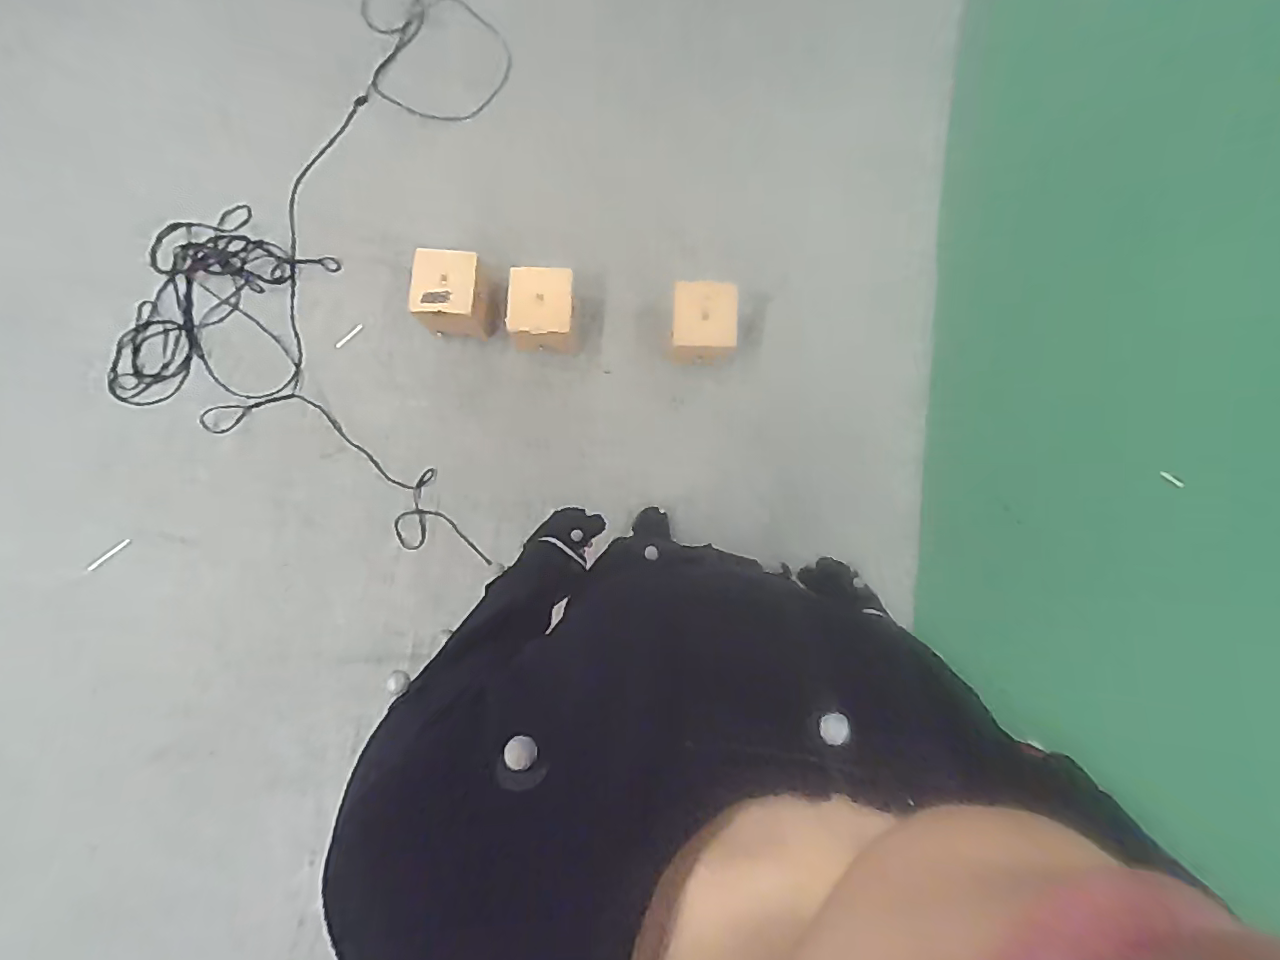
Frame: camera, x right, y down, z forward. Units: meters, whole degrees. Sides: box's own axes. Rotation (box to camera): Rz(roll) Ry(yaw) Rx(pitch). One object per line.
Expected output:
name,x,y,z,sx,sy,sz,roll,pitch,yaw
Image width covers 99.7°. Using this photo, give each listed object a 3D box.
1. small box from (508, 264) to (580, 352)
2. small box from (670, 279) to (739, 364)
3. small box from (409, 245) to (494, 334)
small box,-0.255,-0.462,1.468,0.168,0.176,0.179,1,85,0
small box,0.170,-0.421,1.465,0.168,0.176,0.179,2,85,-1
small box,-0.506,-0.510,1.471,0.168,0.176,0.179,4,83,0
